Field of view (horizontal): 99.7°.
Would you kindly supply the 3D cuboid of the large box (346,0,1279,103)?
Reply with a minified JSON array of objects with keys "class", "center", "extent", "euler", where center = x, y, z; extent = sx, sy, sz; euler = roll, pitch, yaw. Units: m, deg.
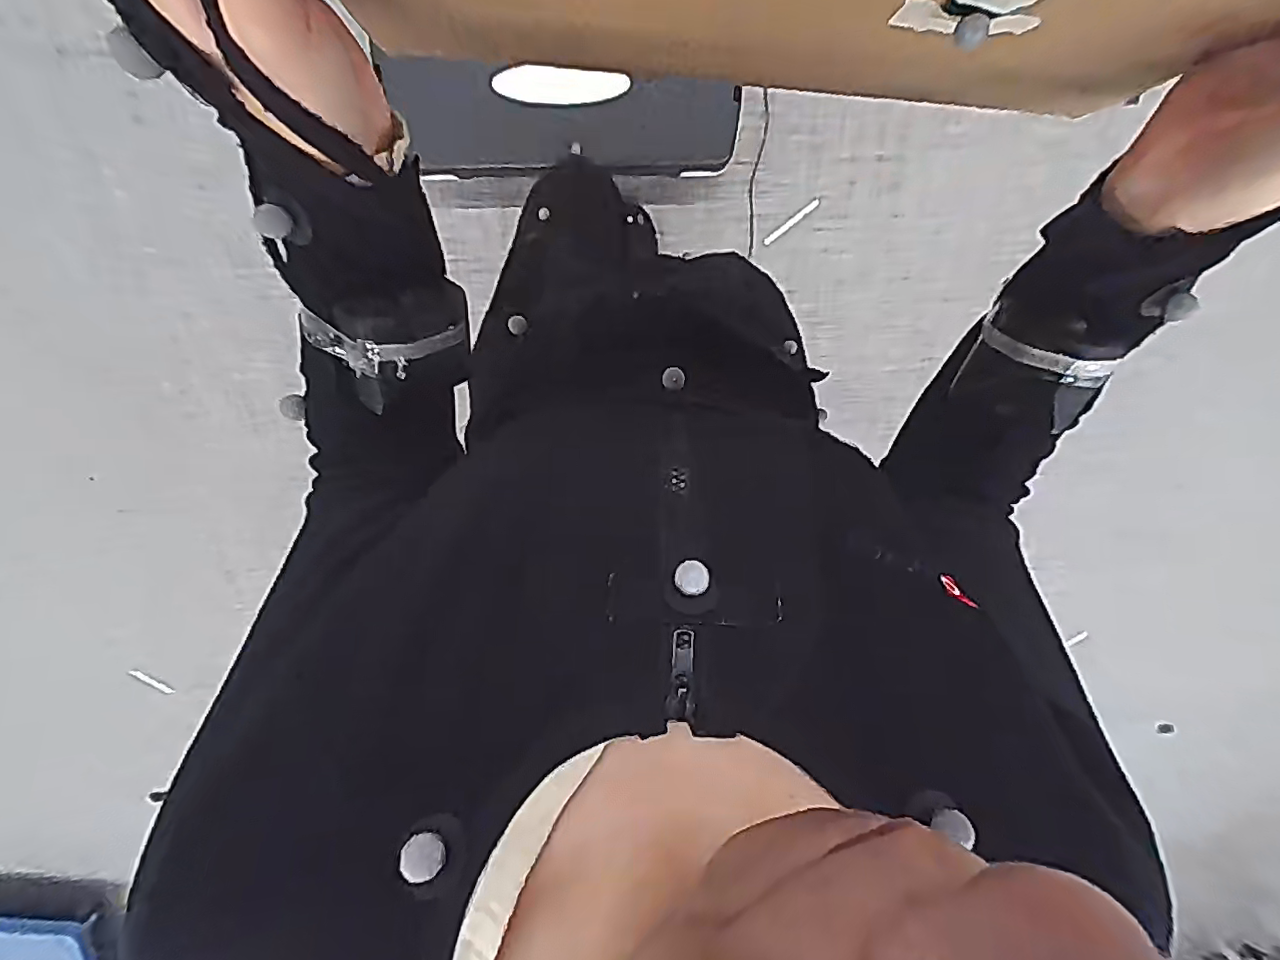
[{"class":"large box","center":[0.073,-0.331,0.125],"extent":[0.408,0.320,0.320],"euler":[1,108,-4]}]
